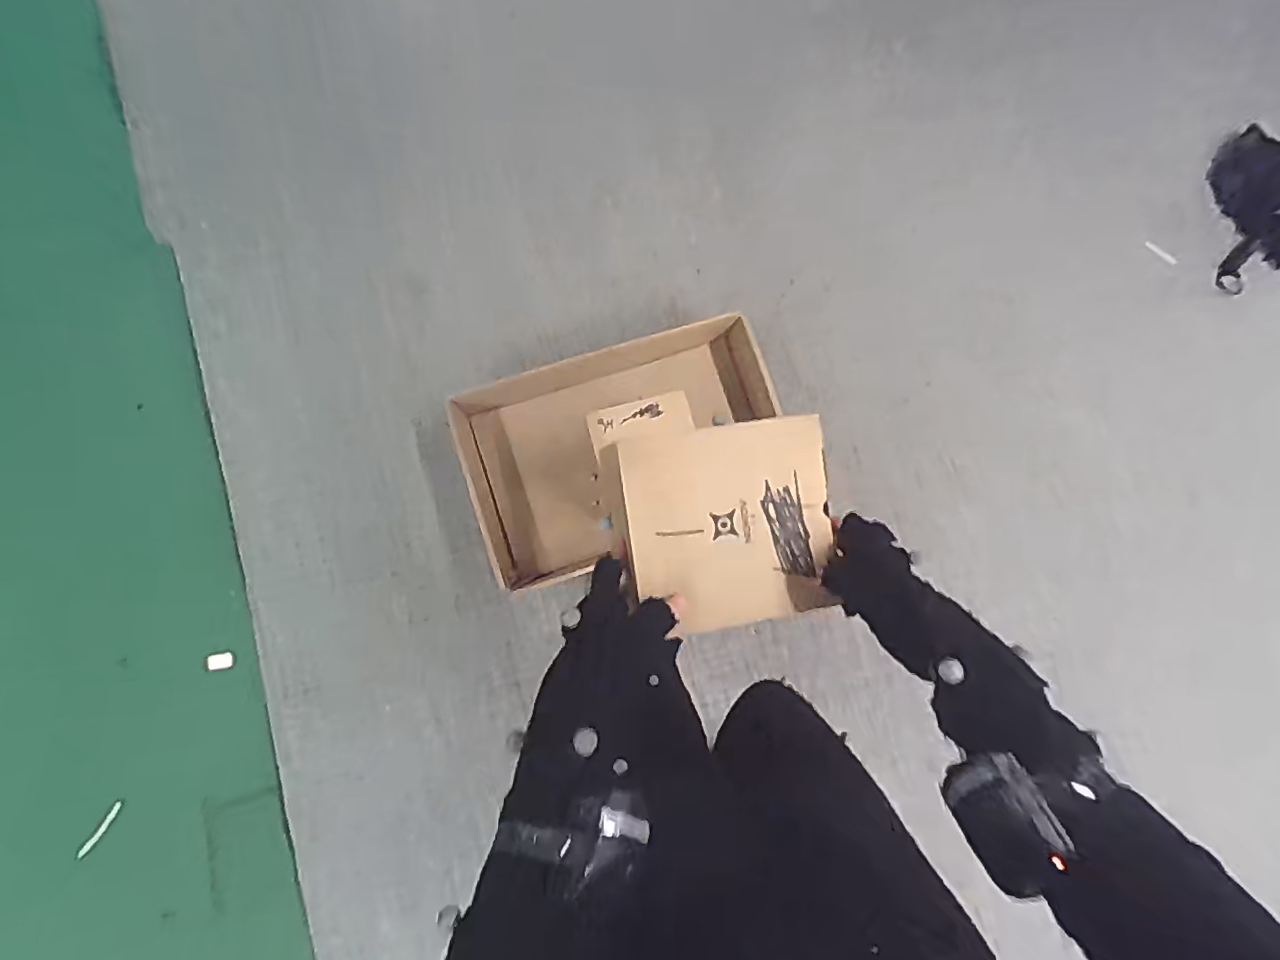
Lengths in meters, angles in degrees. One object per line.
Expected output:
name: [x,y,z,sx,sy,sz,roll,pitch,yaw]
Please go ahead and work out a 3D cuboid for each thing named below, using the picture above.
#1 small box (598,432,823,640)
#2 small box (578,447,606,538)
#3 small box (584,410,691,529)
small box: [0.058,0.047,0.548,0.179,0.176,0.168,-7,89,-8]
small box: [-0.021,0.013,1.089,0.168,0.176,0.179,-16,83,-8]
small box: [0.004,-0.003,0.928,0.168,0.176,0.179,-13,84,-7]
